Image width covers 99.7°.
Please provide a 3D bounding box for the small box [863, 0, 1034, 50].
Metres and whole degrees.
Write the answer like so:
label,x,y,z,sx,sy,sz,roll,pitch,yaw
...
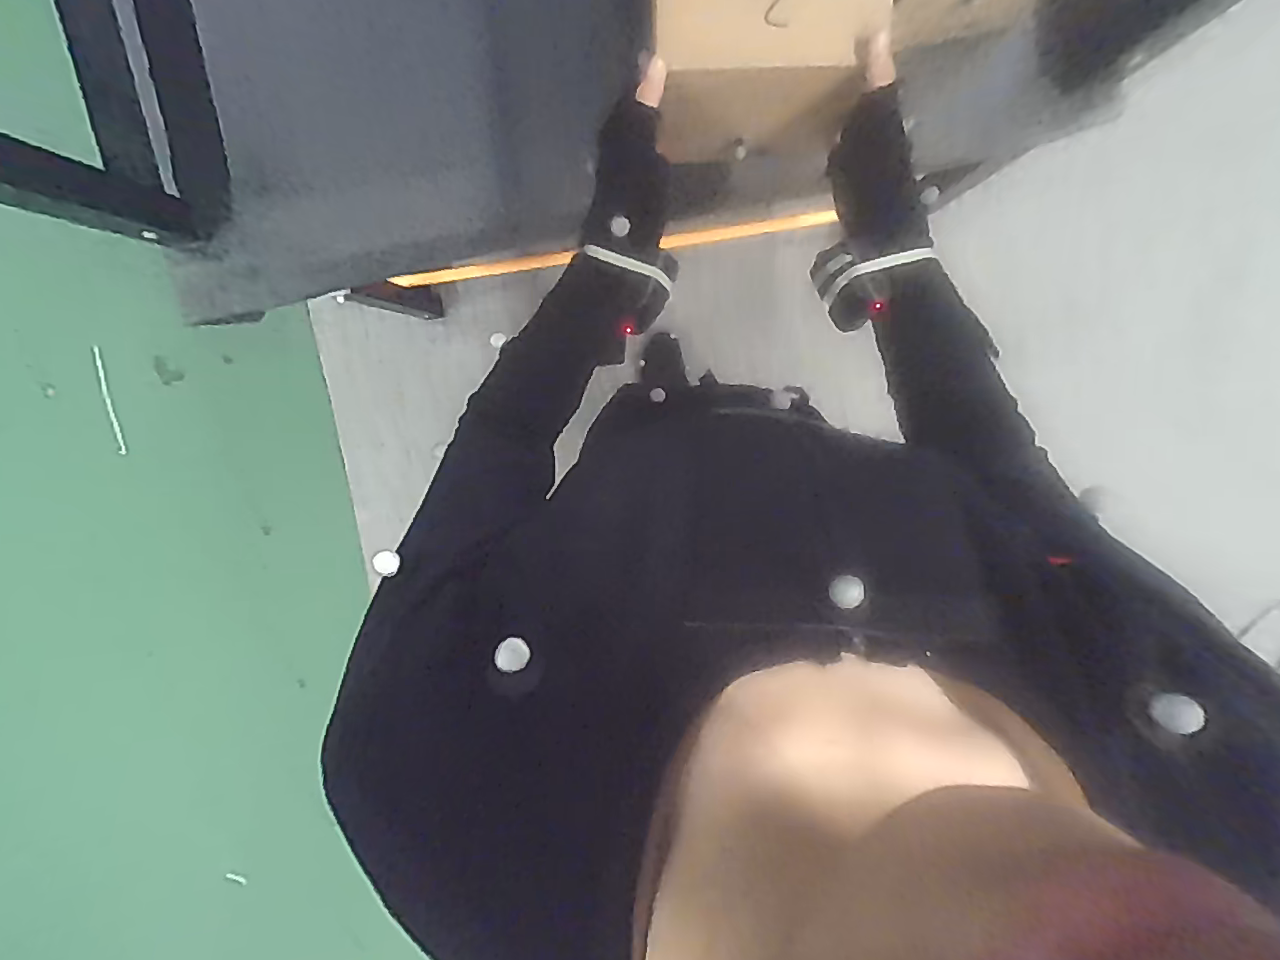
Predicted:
label,x,y,z,sx,sy,sz,roll,pitch,yaw
small box,0.331,-0.576,0.541,0.168,0.176,0.179,-9,98,6
